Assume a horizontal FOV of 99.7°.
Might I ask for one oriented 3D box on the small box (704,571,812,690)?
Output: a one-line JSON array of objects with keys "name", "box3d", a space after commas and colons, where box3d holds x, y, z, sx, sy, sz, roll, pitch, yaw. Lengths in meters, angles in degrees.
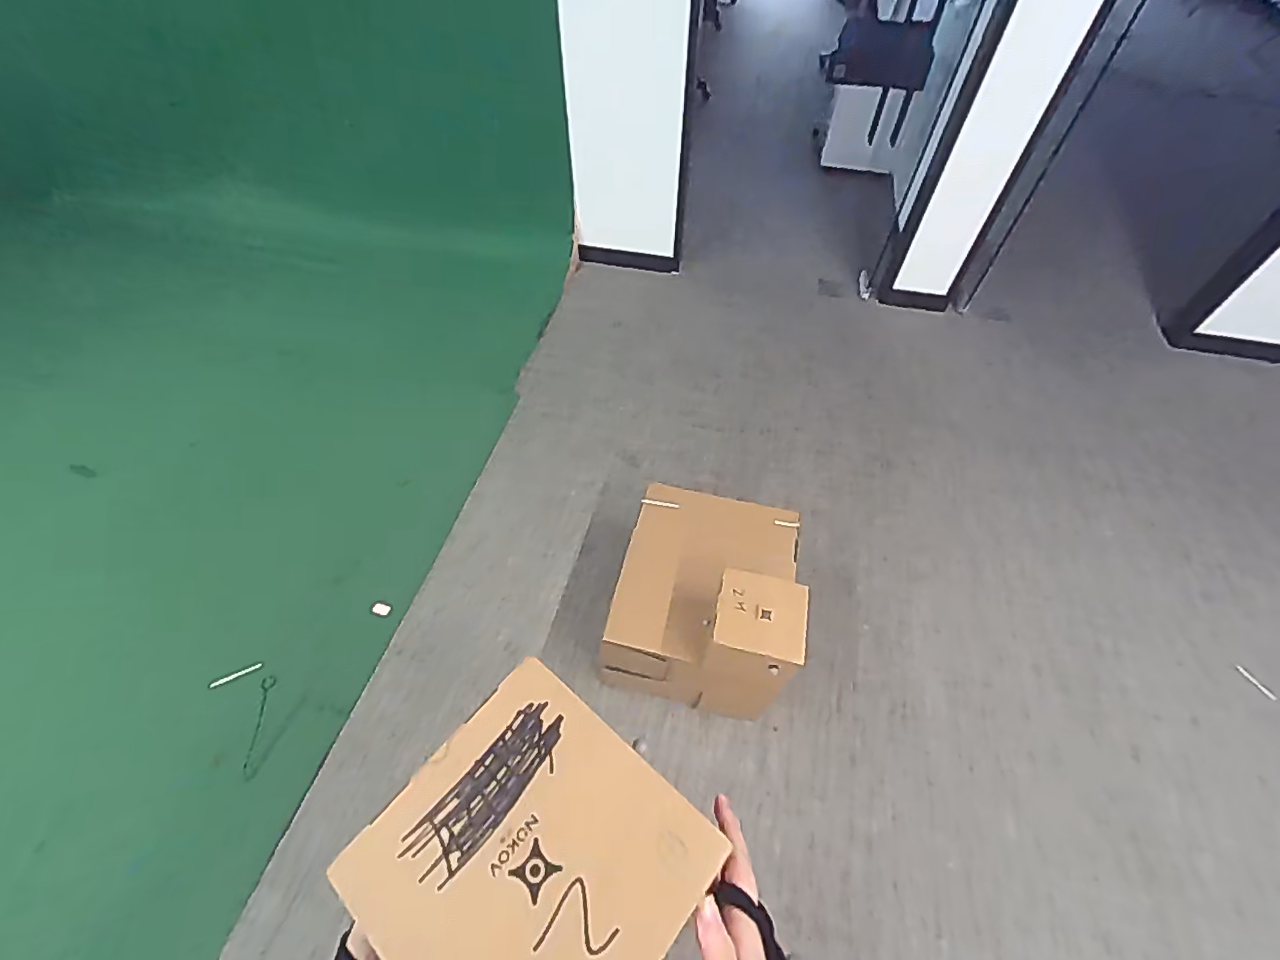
[{"name": "small box", "box3d": [0.238, 0.314, 1.109, 0.179, 0.176, 0.168, 12, 53, 8]}]
